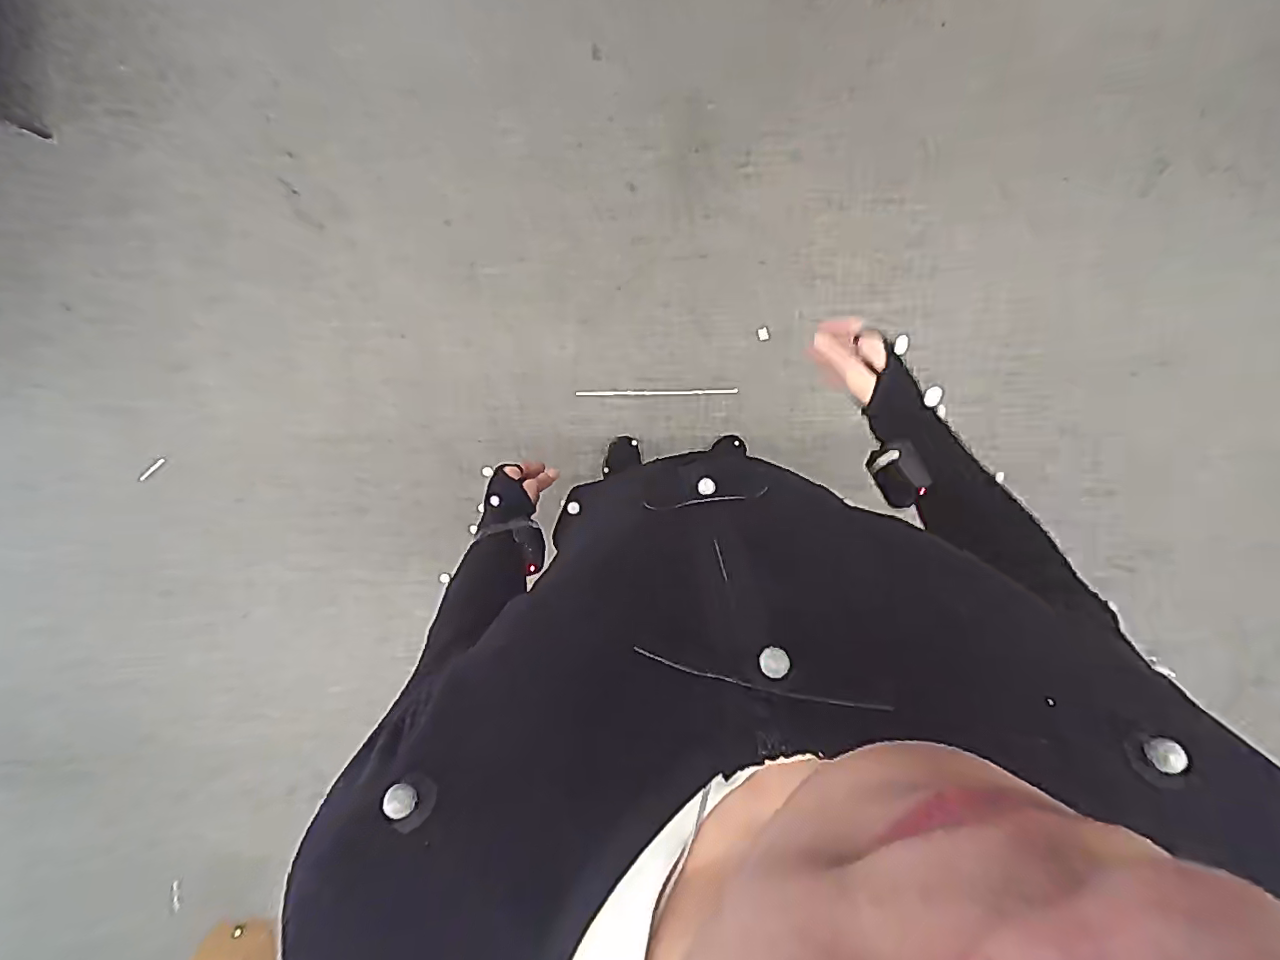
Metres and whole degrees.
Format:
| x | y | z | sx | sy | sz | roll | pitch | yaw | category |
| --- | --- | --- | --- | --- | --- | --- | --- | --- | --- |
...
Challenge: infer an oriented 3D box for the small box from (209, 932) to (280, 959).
| x | y | z | sx | sy | sz | roll | pitch | yaw | category |
| --- | --- | --- | --- | --- | --- | --- | --- | --- | --- |
| -1.264 | 1.576 | 1.697 | 0.168 | 0.176 | 0.179 | -1 | 93 | 1 | small box |
